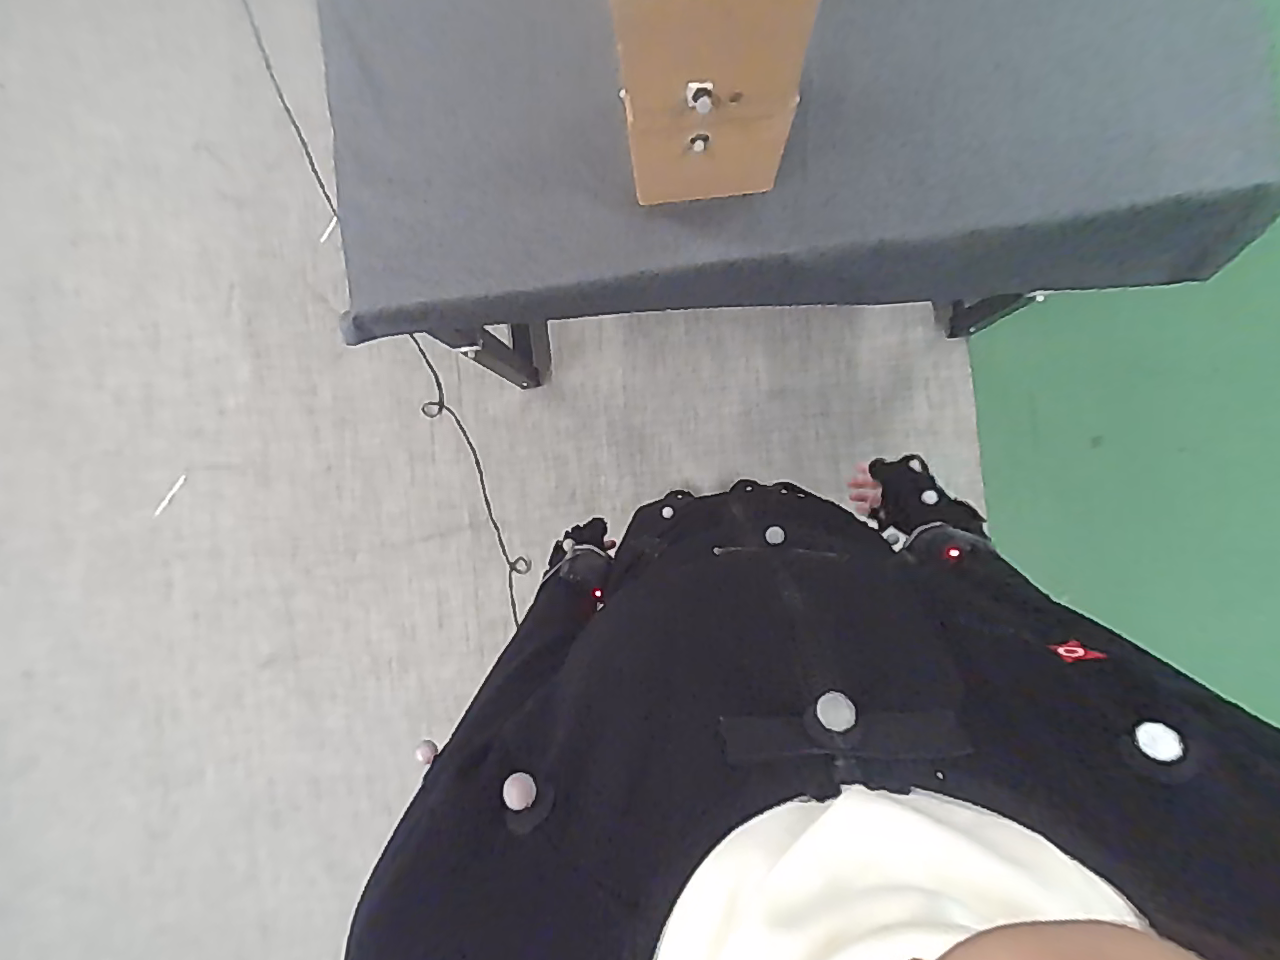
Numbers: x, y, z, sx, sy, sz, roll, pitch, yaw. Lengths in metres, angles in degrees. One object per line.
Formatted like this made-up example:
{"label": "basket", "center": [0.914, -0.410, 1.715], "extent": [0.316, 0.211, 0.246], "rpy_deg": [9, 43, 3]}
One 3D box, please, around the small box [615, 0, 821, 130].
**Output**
{"label": "small box", "center": [0.060, -0.455, 0.475], "extent": [0.168, 0.176, 0.179], "rpy_deg": [-5, 90, 7]}

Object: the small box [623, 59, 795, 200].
{"label": "small box", "center": [0.075, -0.454, 0.636], "extent": [0.179, 0.176, 0.168], "rpy_deg": [-3, 89, 4]}
